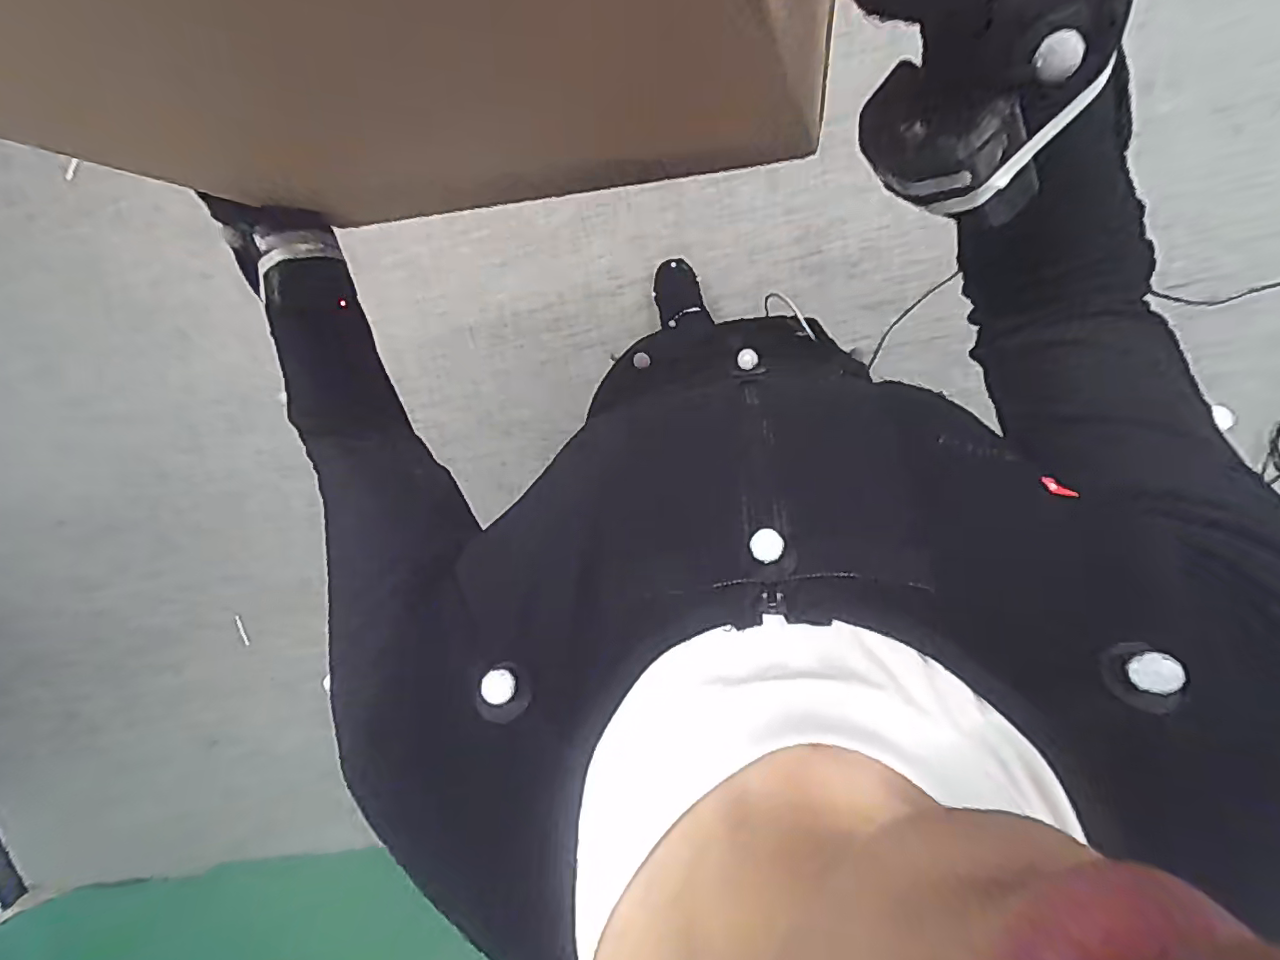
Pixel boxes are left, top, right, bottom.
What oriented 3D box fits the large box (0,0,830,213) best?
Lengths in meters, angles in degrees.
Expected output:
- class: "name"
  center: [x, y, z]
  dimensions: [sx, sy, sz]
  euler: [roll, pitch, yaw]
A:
- class: "large box"
  center: [-0.142, -0.337, 0.221]
  dimensions: [0.408, 0.320, 0.320]
  euler: [7, 102, 27]
